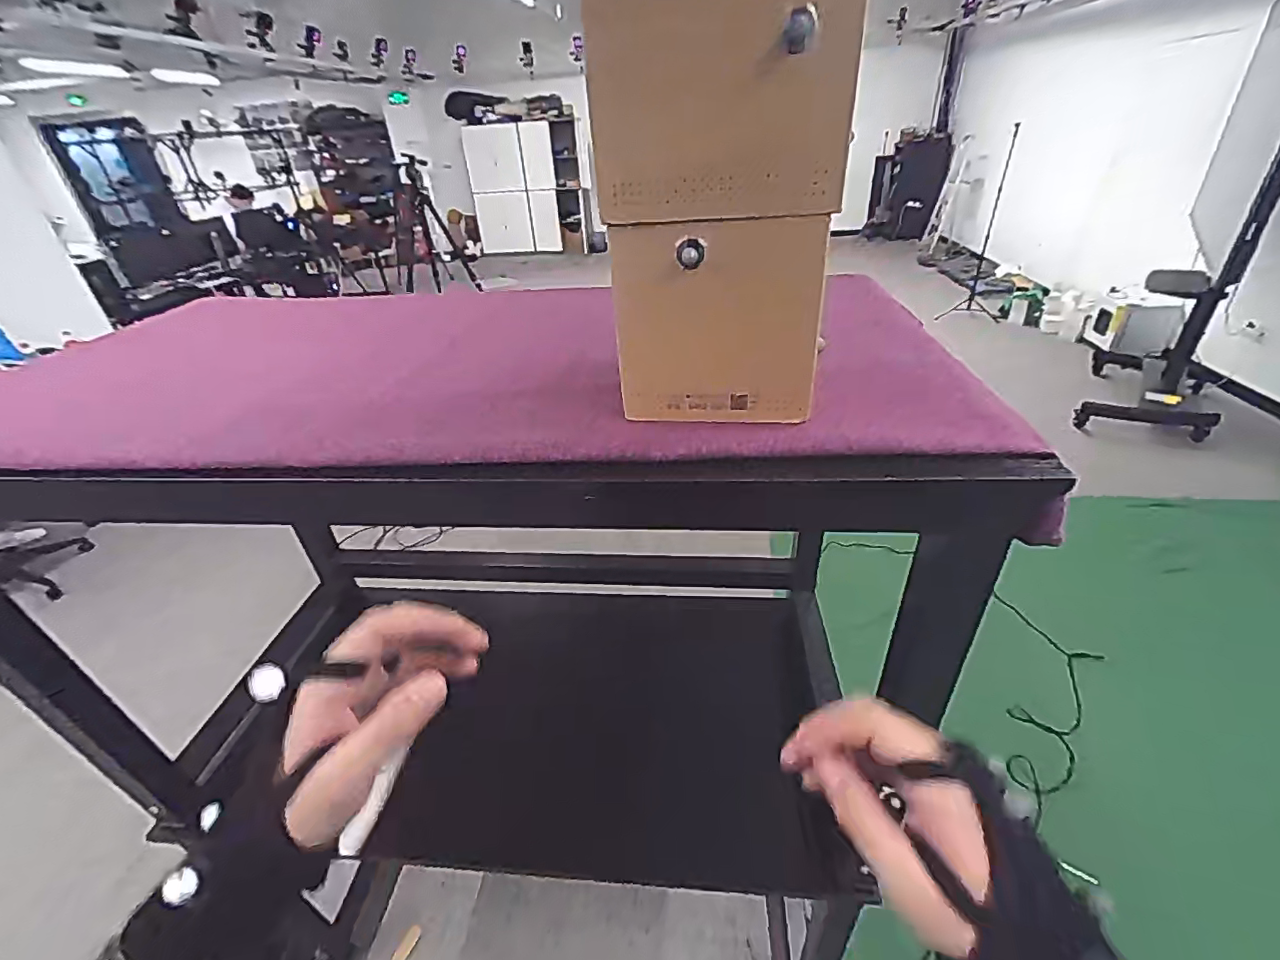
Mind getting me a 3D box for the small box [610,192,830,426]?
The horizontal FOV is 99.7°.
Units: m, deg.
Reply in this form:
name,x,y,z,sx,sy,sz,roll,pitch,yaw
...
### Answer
name,x,y,z,sx,sy,sz,roll,pitch,yaw
small box,0.076,-0.164,0.508,0.168,0.176,0.179,1,33,11
